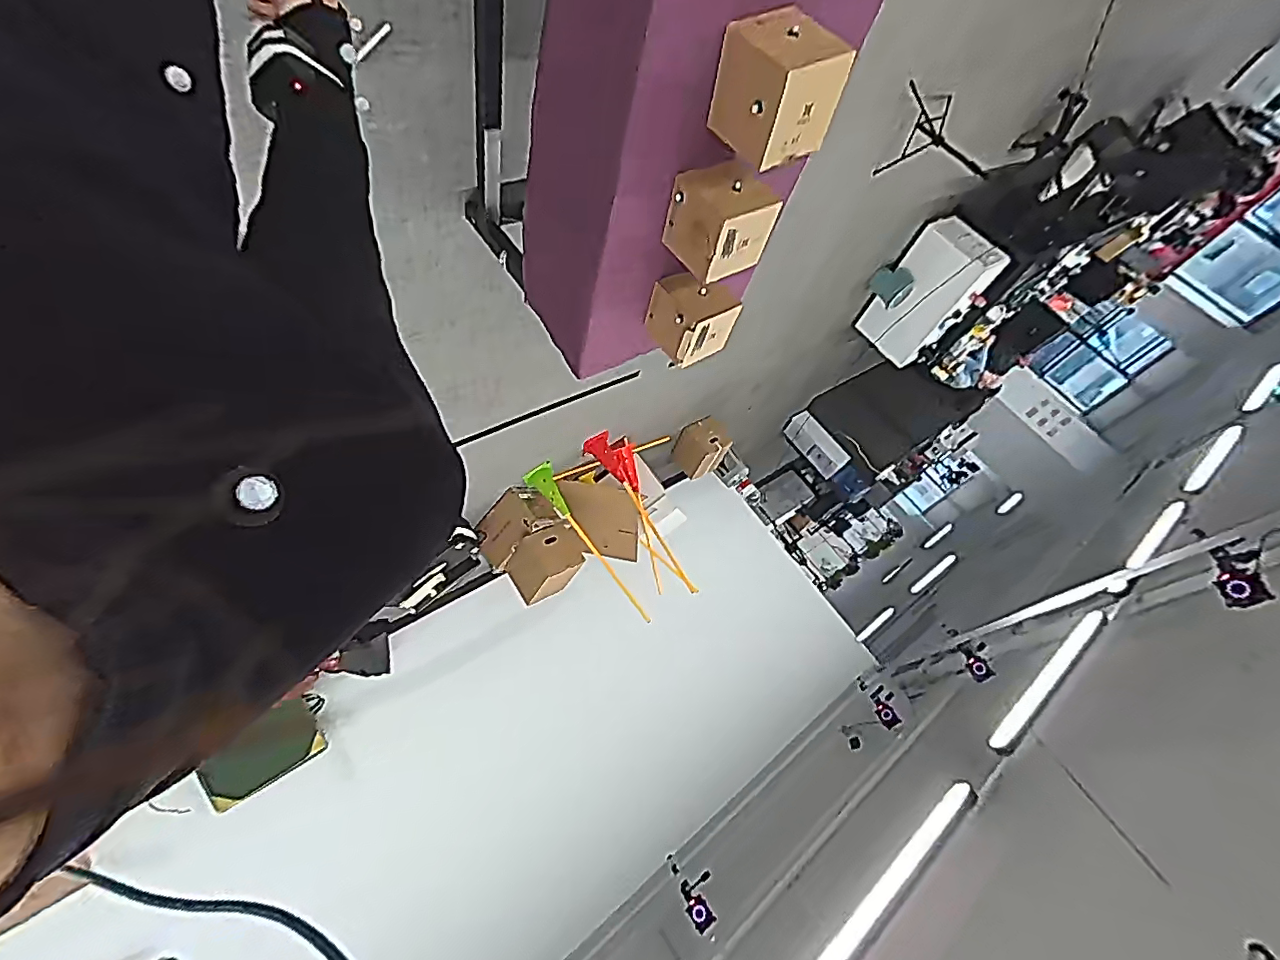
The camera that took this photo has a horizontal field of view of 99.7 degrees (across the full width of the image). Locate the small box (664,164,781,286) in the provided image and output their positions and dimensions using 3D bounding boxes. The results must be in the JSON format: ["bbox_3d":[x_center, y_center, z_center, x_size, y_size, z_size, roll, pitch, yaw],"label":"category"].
[{"bbox_3d":[0.177,-0.580,1.225,0.179,0.176,0.168,-30,160,-24],"label":"small box"}]

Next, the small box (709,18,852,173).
[{"bbox_3d":[0.251,-0.726,1.016,0.168,0.176,0.179,-30,160,-20],"label":"small box"}]
